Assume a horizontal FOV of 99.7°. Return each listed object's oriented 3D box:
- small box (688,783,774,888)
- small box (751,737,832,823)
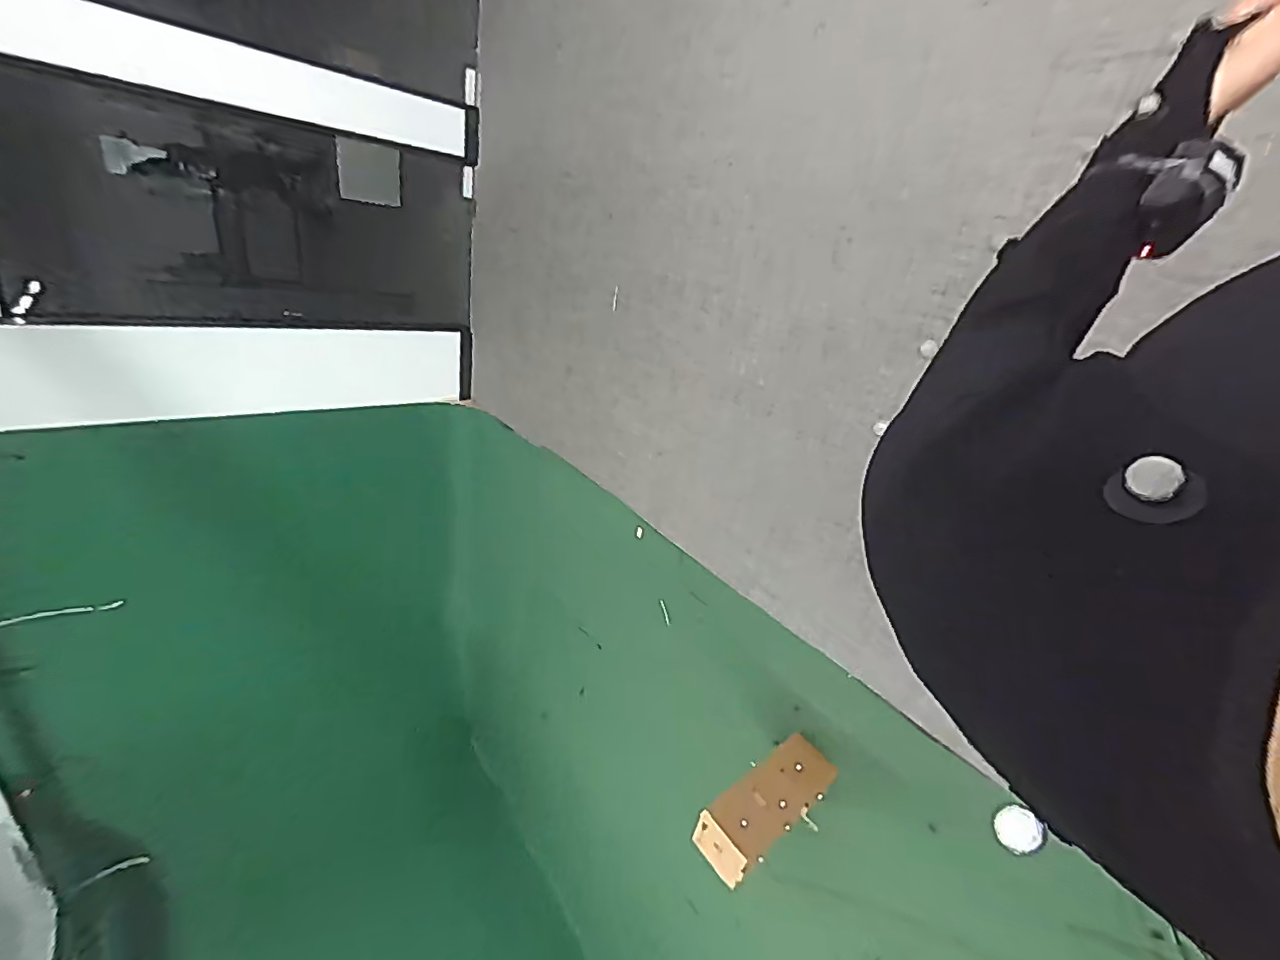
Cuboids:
[{"bbox_3d":[0.280,1.075,1.649,0.179,0.176,0.168,37,125,39],"label":"small box"},{"bbox_3d":[0.522,1.022,1.864,0.179,0.176,0.168,38,125,38],"label":"small box"}]
